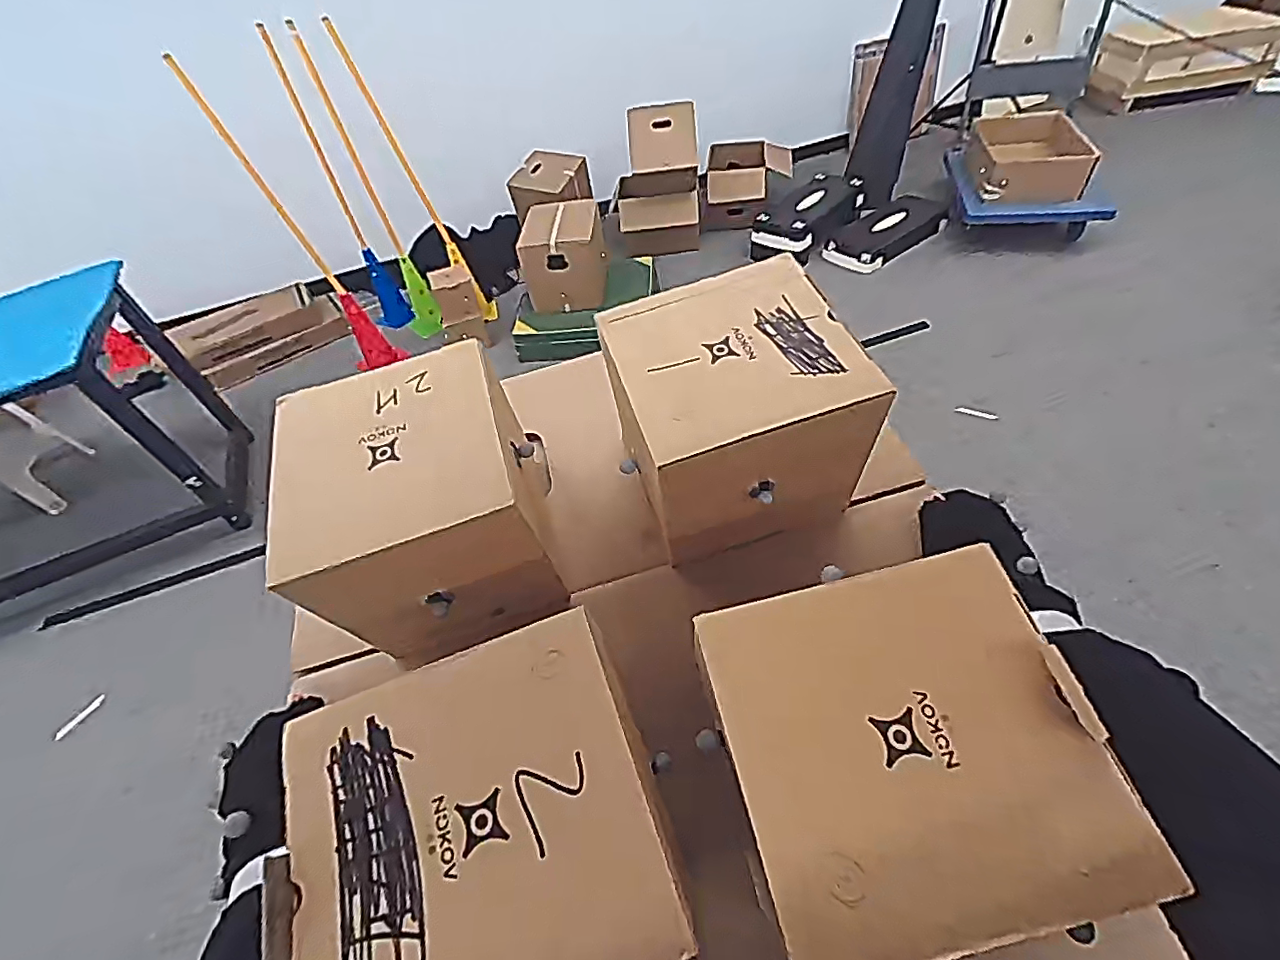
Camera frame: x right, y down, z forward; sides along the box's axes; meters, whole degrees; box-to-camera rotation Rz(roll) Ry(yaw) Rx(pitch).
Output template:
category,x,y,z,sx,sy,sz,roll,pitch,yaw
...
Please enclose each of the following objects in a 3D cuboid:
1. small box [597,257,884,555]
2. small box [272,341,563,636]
category,x,y,z,sx,sy,sz,roll,pitch,yaw
small box,0.075,-0.056,0.476,0.179,0.176,0.168,-17,58,-2
small box,-0.176,0.019,0.467,0.168,0.176,0.179,-18,57,-4
